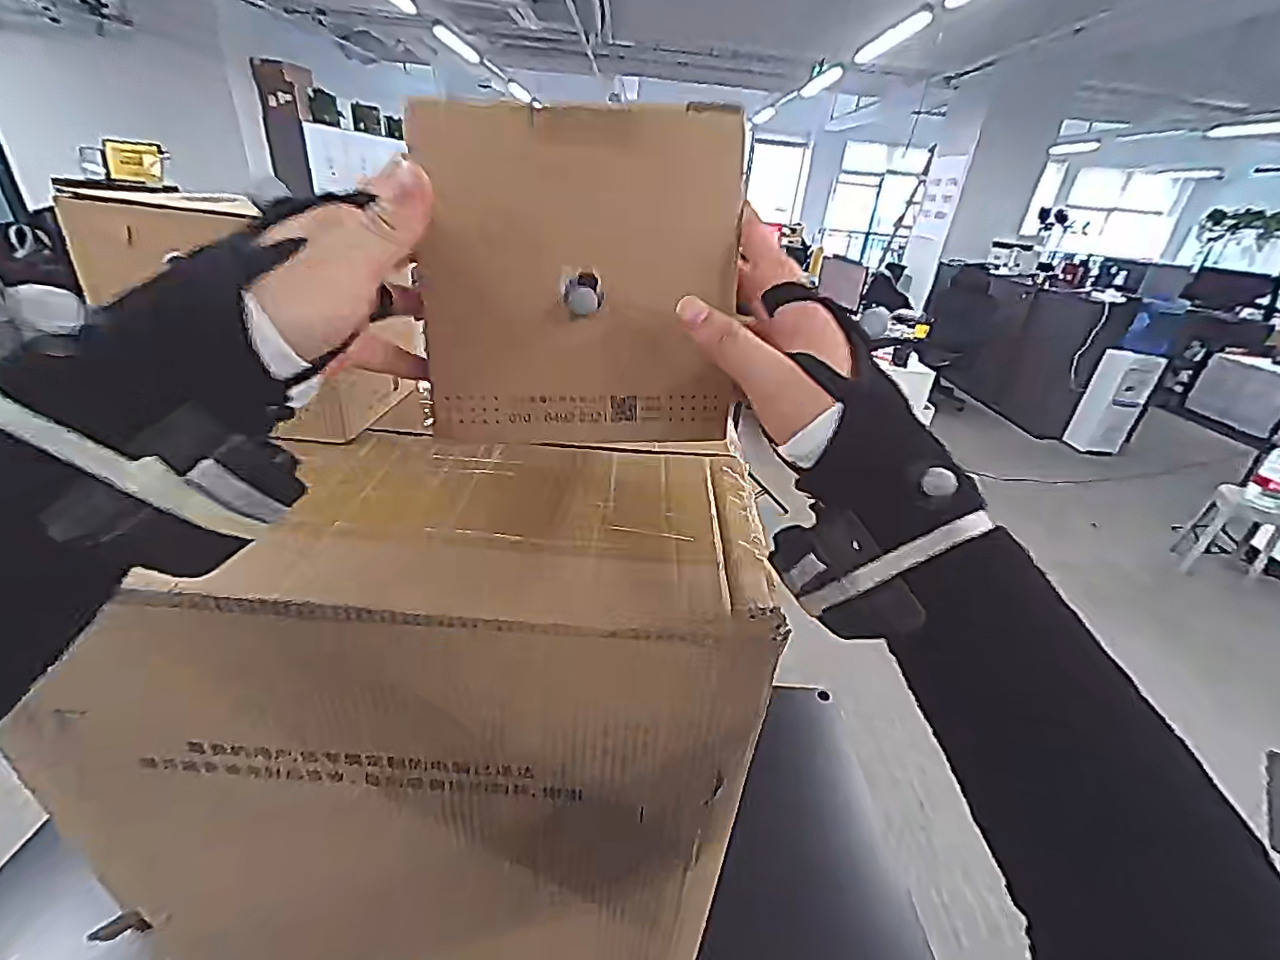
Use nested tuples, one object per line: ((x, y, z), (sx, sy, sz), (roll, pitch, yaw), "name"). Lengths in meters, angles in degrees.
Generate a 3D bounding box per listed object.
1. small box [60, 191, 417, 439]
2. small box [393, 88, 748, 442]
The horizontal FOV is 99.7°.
((-0.313, -0.144, 0.471), (0.179, 0.176, 0.168), (6, 27, -3), "small box")
((-0.035, -0.123, 0.348), (0.168, 0.176, 0.179), (-1, 19, -5), "small box")
